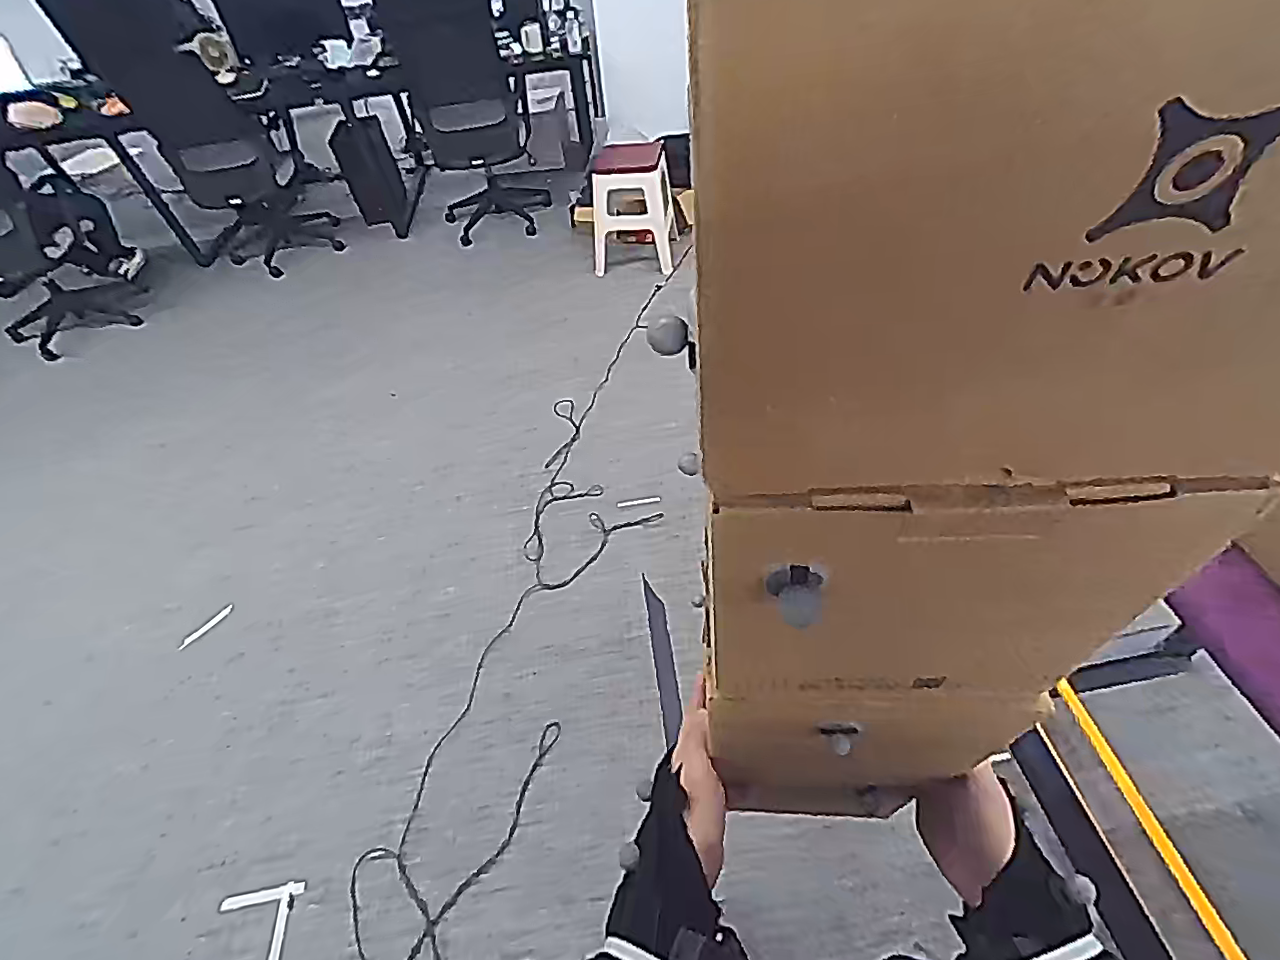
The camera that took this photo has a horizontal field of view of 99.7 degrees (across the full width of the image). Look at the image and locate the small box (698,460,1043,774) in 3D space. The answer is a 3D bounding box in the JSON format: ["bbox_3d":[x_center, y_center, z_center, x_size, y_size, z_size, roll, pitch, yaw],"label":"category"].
[{"bbox_3d":[0.133,0.102,0.393,0.179,0.176,0.168,-1,49,6],"label":"small box"}]
